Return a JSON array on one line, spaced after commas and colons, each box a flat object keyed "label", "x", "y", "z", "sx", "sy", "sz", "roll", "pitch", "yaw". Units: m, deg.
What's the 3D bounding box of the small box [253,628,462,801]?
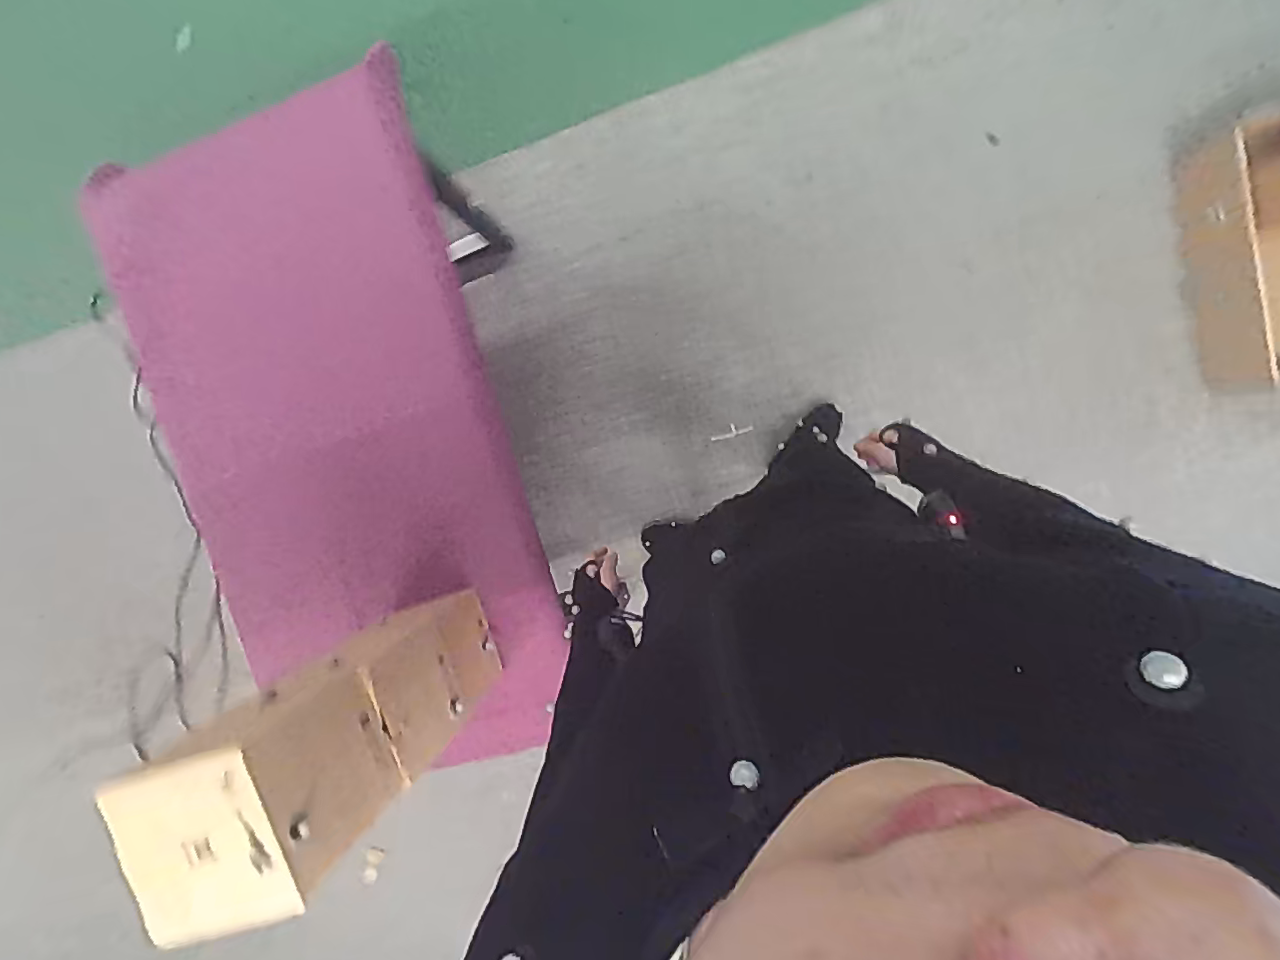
[{"label": "small box", "x": -0.370, "y": 0.324, "z": 0.743, "sx": 0.179, "sy": 0.176, "sz": 0.168, "roll": -19, "pitch": 93, "yaw": 10}]

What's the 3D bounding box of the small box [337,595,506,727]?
[{"label": "small box", "x": -0.355, "y": 0.312, "z": 0.906, "sx": 0.179, "sy": 0.176, "sz": 0.168, "roll": -19, "pitch": 93, "yaw": 9}]

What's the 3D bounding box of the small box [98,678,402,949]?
[{"label": "small box", "x": -0.399, "y": 0.342, "z": 0.583, "sx": 0.179, "sy": 0.176, "sz": 0.168, "roll": -20, "pitch": 93, "yaw": 10}]
